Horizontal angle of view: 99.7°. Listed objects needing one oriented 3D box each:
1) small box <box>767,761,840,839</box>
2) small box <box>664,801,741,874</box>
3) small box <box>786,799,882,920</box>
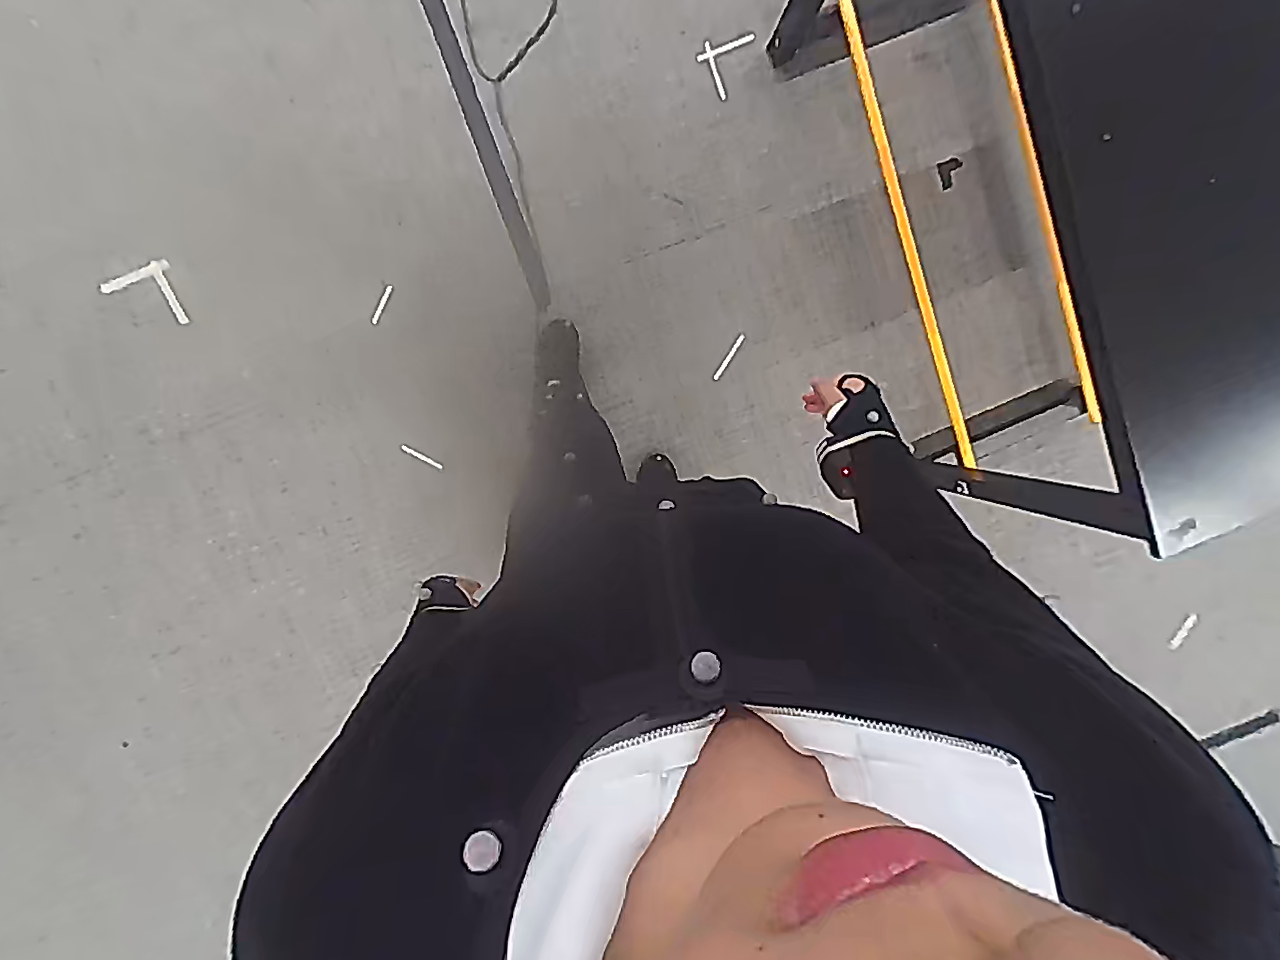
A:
[{"bbox_3d":[0.493,0.962,1.586,0.168,0.176,0.179,-22,99,-1],"label":"small box"},{"bbox_3d":[0.182,1.085,1.582,0.179,0.176,0.168,-18,99,0],"label":"small box"},{"bbox_3d":[0.505,0.989,1.422,0.168,0.176,0.179,-17,99,-2],"label":"small box"}]
